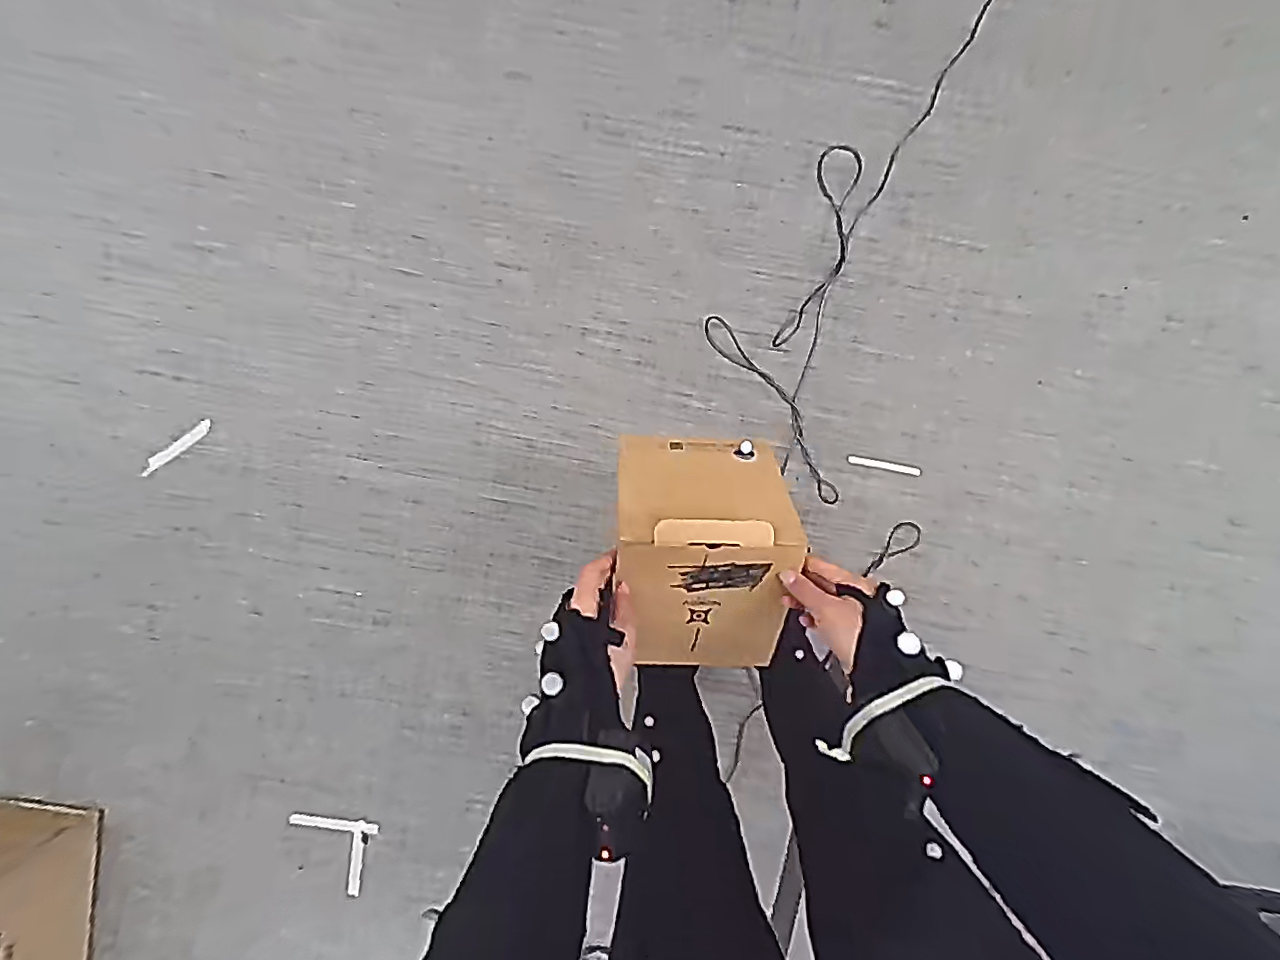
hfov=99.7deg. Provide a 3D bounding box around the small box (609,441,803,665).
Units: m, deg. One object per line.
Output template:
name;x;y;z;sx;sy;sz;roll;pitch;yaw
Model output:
small box;0.053;0.073;0.575;0.168;0.176;0.179;2;126;-3
